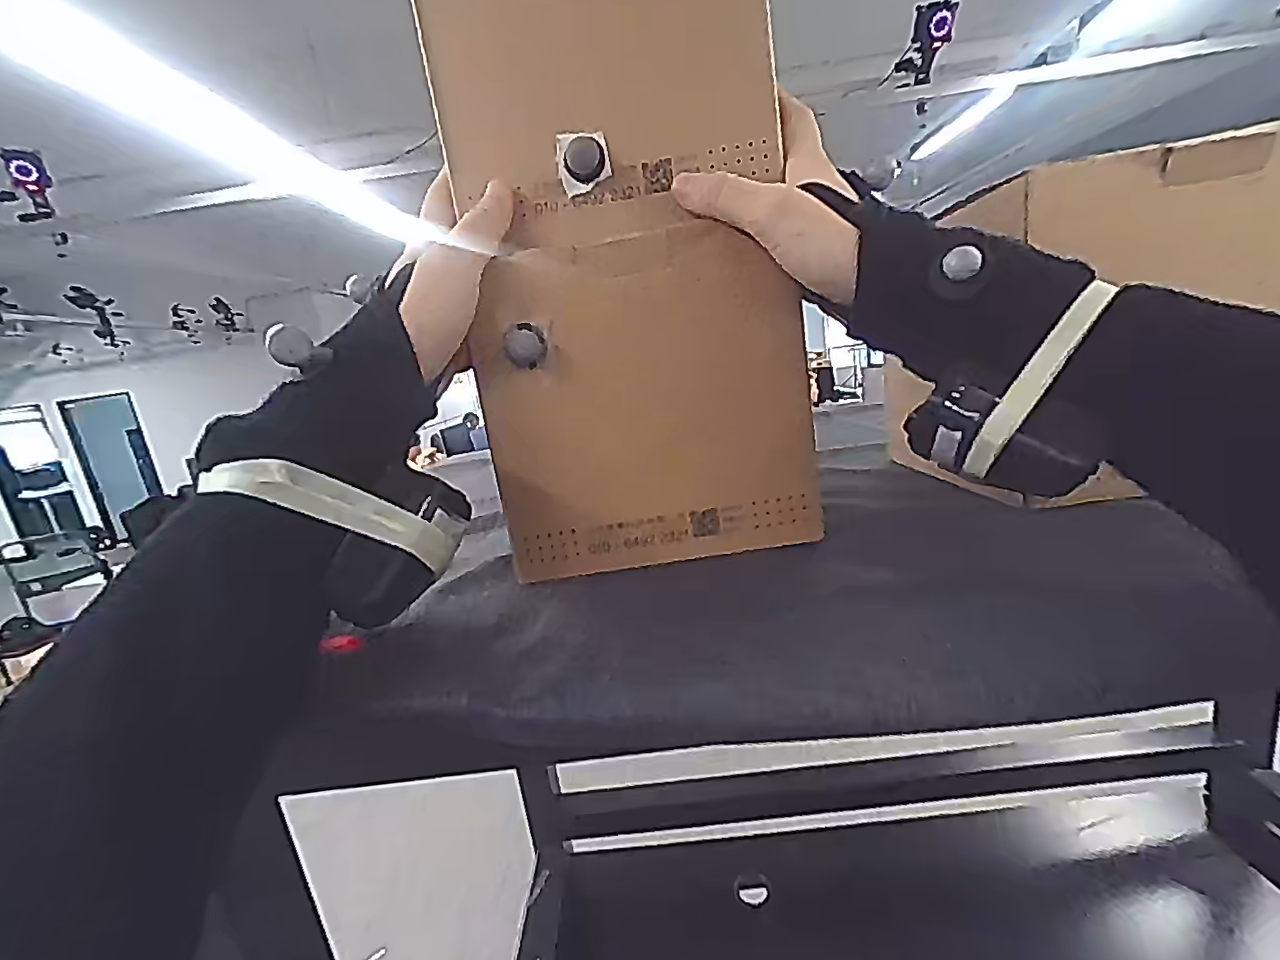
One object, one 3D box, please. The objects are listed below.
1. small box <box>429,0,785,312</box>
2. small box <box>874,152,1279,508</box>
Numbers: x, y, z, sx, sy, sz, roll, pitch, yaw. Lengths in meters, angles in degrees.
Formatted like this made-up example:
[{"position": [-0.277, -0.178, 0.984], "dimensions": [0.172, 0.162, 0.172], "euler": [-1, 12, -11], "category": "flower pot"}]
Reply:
[{"position": [-0.013, -0.207, 0.341], "dimensions": [0.168, 0.176, 0.179], "euler": [-9, 12, 5], "category": "small box"}, {"position": [0.270, -0.082, 0.349], "dimensions": [0.168, 0.176, 0.179], "euler": [-7, 11, 3], "category": "small box"}]
